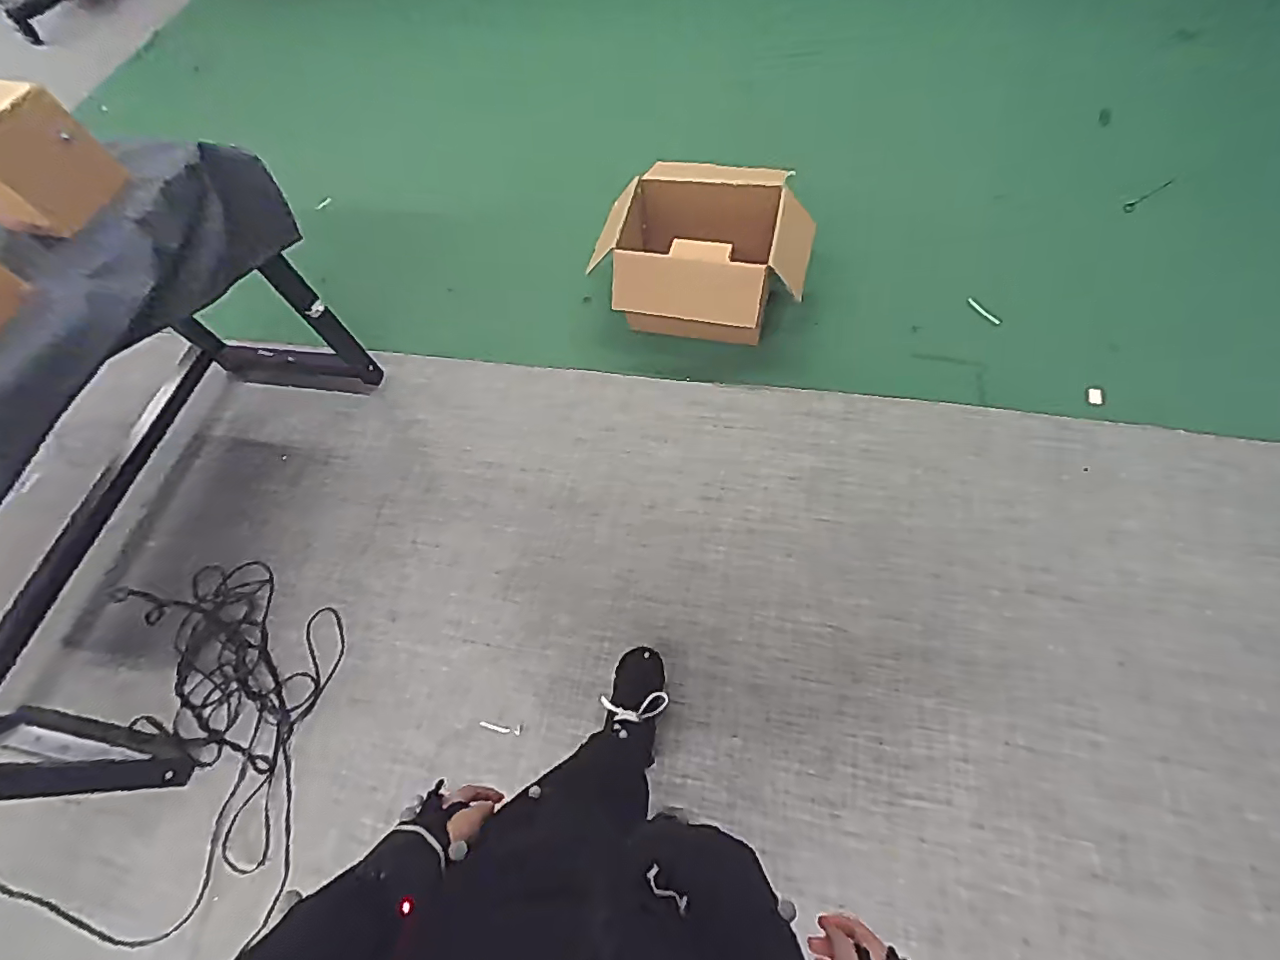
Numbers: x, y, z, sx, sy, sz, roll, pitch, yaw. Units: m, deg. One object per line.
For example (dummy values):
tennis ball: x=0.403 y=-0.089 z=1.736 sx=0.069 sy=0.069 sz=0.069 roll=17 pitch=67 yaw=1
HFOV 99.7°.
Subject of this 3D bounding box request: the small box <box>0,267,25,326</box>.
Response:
small box: x=-1.129 y=-0.295 z=0.826 sx=0.168 sy=0.176 sz=0.179 roll=5 pitch=65 yaw=9
